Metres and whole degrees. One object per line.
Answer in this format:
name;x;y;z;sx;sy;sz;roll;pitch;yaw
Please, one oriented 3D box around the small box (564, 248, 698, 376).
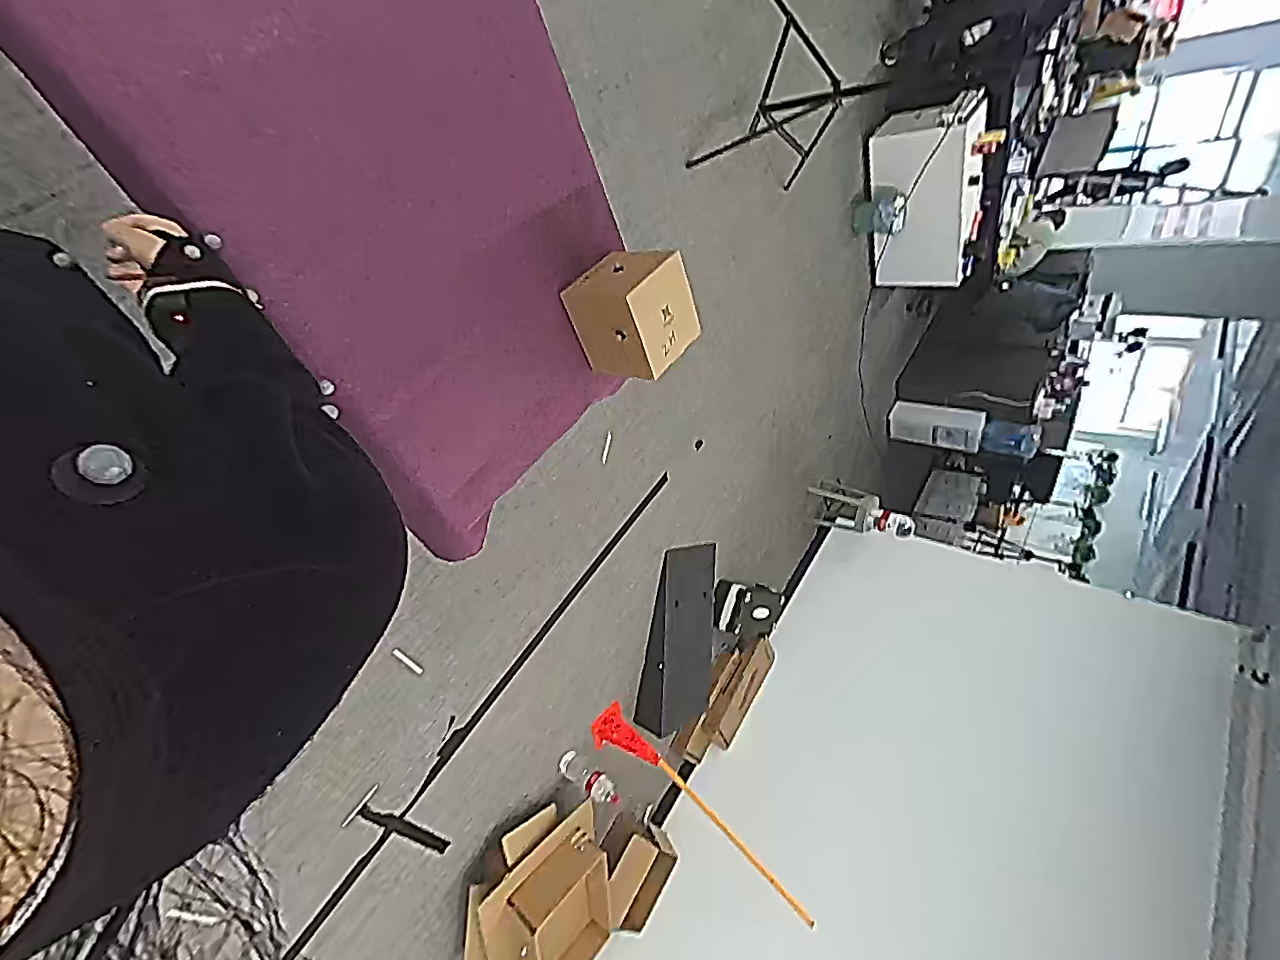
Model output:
small box;-0.017;-0.323;1.040;0.168;0.176;0.179;-49;137;-27
